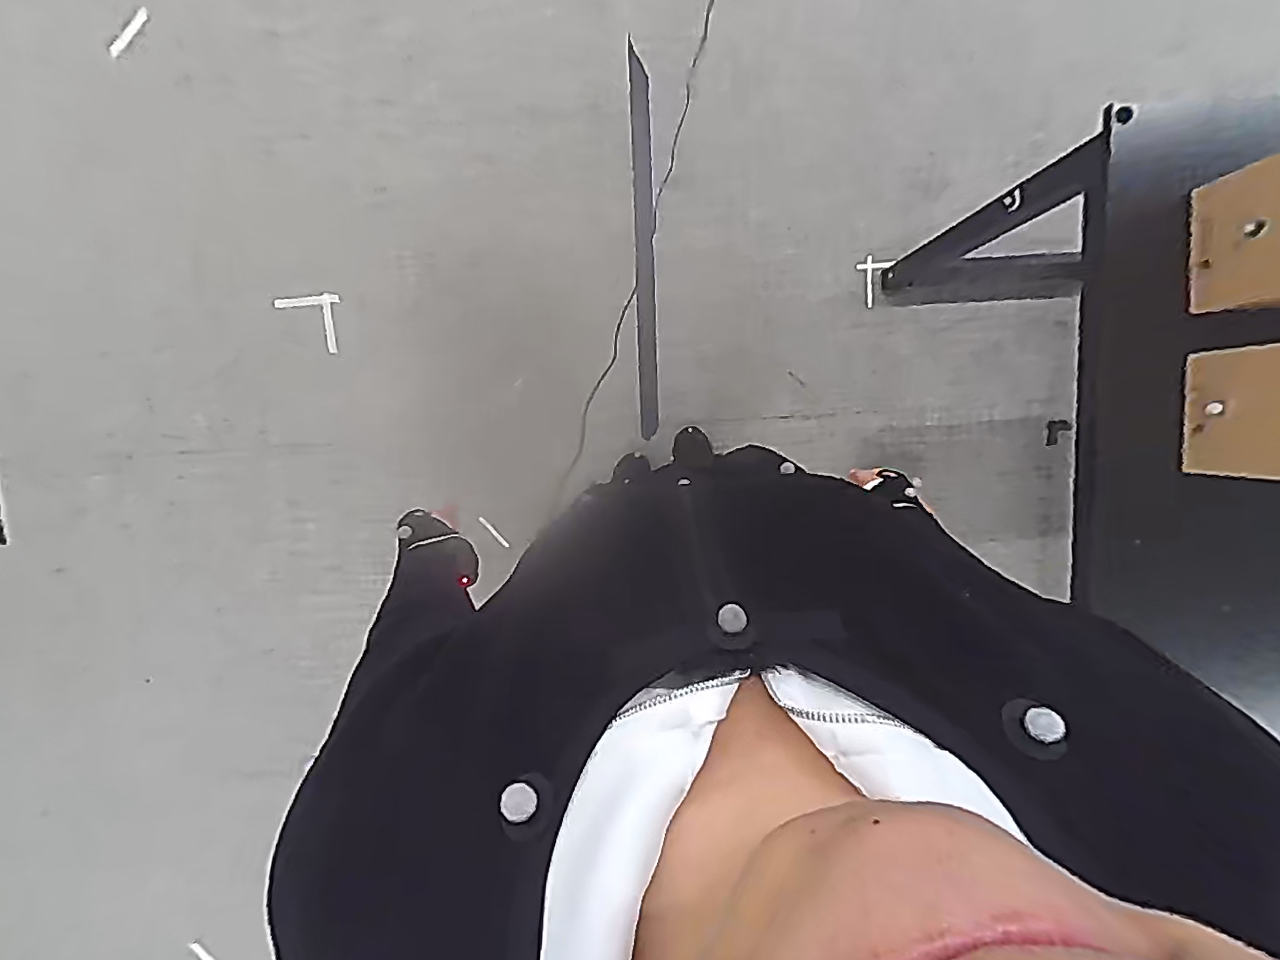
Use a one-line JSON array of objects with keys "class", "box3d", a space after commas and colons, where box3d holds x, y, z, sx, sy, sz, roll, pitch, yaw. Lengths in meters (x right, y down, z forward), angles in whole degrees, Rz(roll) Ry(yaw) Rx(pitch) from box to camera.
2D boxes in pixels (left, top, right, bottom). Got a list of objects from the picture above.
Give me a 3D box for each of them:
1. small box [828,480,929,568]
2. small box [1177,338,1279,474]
[{"class": "small box", "box3d": [0.620, 0.109, 1.435, 0.168, 0.176, 0.179, 18, 94, -3]}, {"class": "small box", "box3d": [0.849, -0.096, 0.681, 0.179, 0.176, 0.168, -3, 95, 1]}]
